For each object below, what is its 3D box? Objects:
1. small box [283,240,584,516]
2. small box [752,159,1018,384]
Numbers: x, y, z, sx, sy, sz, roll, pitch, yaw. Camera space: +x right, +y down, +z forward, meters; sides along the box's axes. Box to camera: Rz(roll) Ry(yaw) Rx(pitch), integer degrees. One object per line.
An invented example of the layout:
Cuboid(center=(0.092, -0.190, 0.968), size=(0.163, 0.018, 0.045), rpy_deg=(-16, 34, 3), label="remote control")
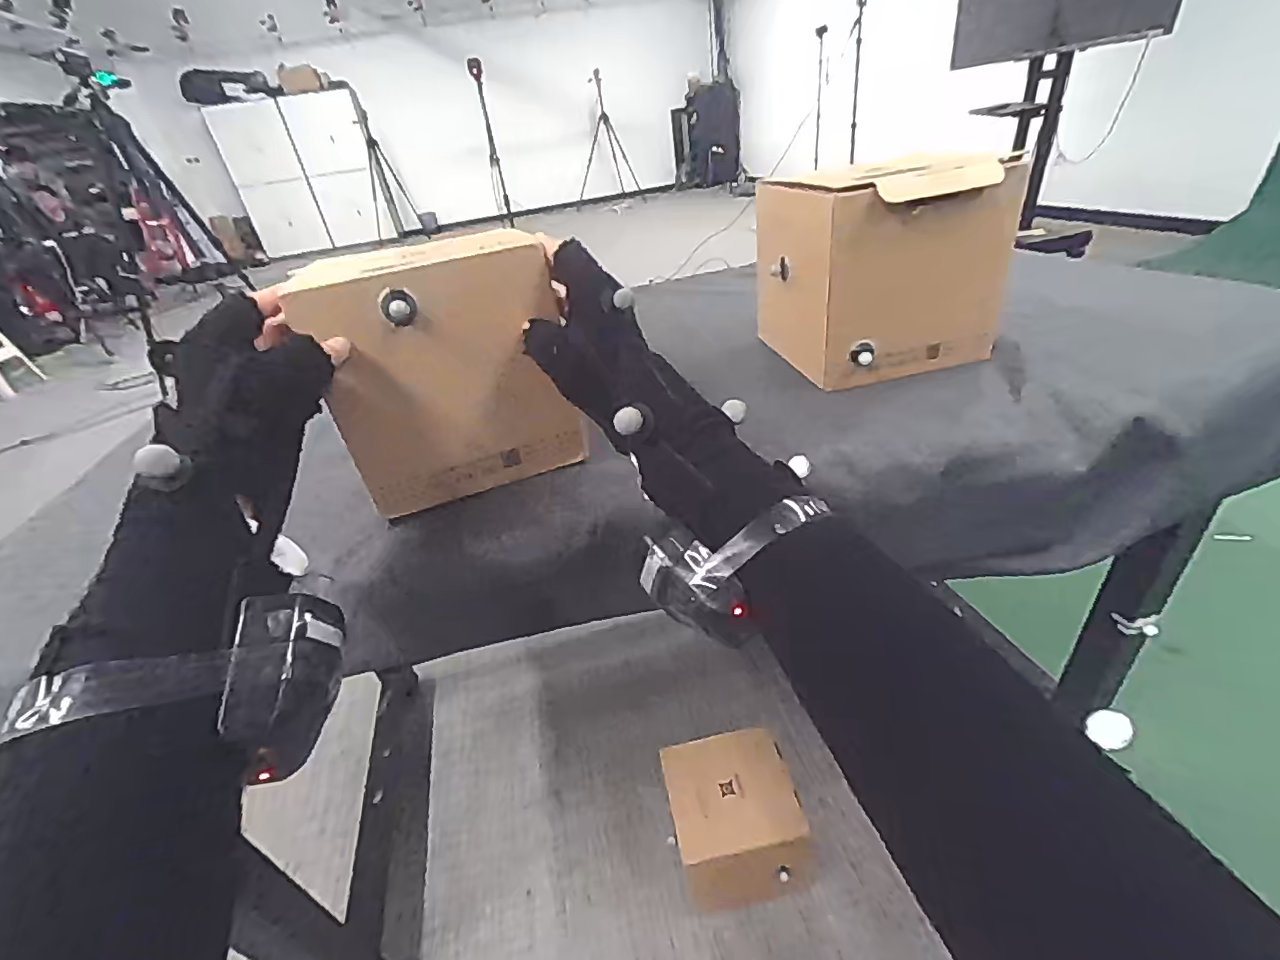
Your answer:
Cuboid(center=(-0.158, -0.095, 0.455), size=(0.168, 0.176, 0.179), rpy_deg=(-18, 31, -13), label="small box")
Cuboid(center=(0.220, -0.204, 0.534), size=(0.168, 0.176, 0.179), rpy_deg=(-12, 32, -4), label="small box")
